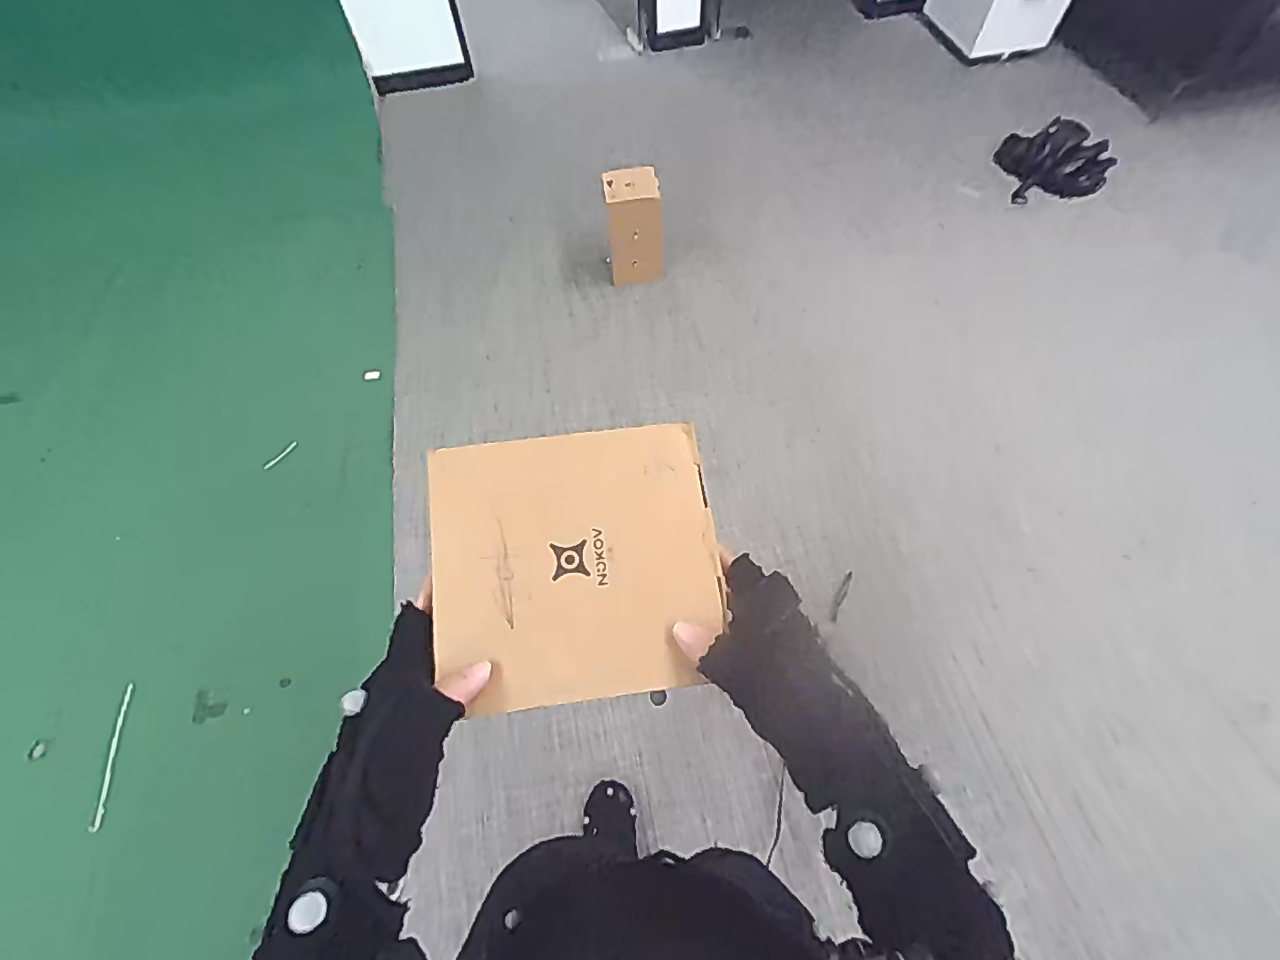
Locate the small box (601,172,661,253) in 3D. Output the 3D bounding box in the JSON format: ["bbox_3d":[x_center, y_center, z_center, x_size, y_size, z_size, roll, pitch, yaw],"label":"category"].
[{"bbox_3d":[-0.030,-0.894,1.814,0.179,0.176,0.168,-10,63,-2],"label":"small box"}]

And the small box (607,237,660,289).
[{"bbox_3d":[-0.023,-0.818,1.956,0.179,0.176,0.168,-8,61,-1],"label":"small box"}]

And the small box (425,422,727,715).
[{"bbox_3d":[-0.047,0.071,0.414,0.179,0.176,0.168,-8,73,-4],"label":"small box"}]
